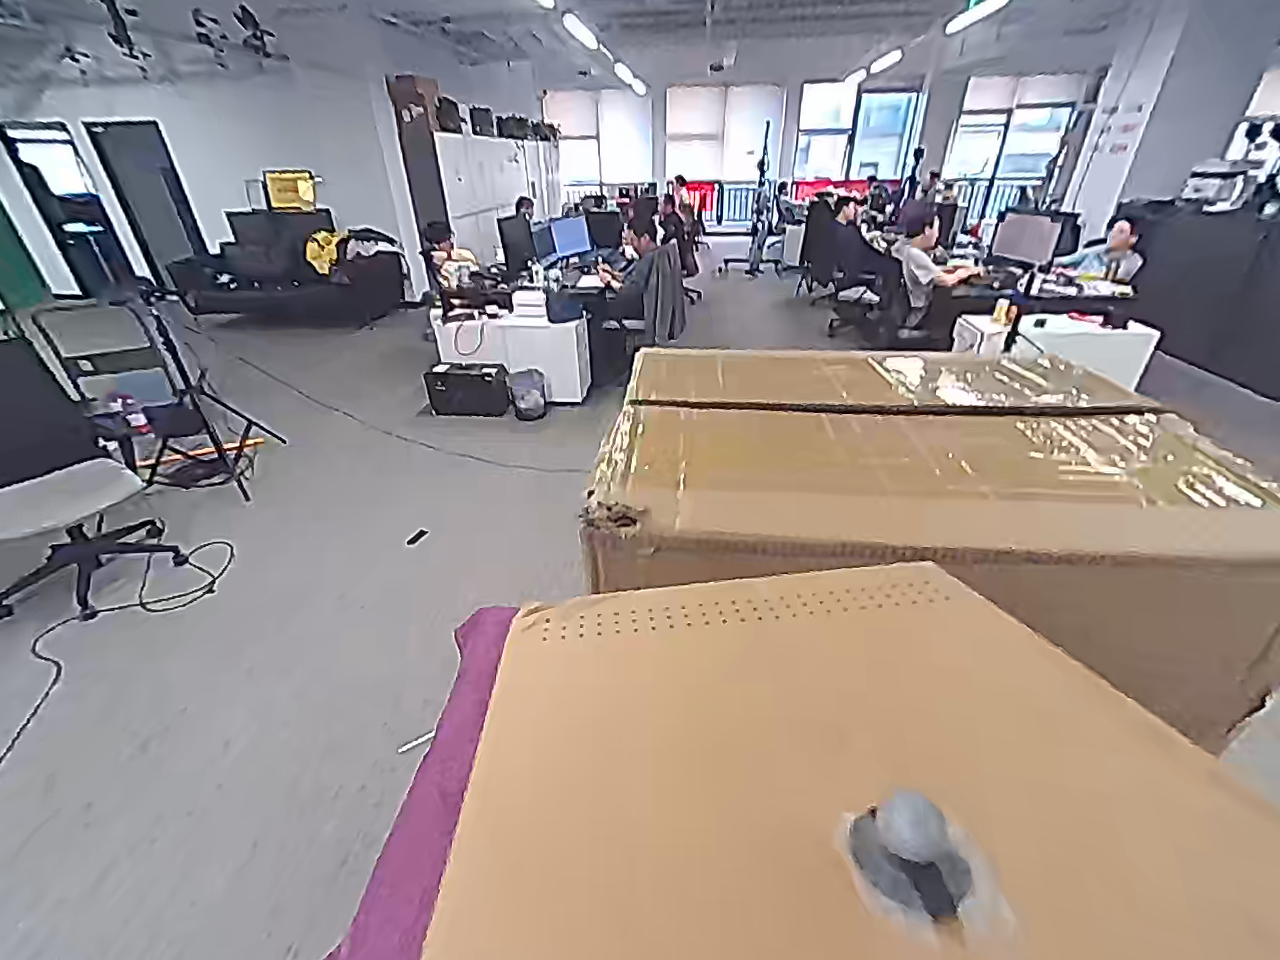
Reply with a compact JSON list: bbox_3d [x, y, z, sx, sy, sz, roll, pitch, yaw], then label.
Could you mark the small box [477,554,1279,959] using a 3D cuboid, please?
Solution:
[{"bbox_3d":[0.055,0.131,0.161,0.179,0.168,0.176,-5,15,-3],"label":"small box"}]
